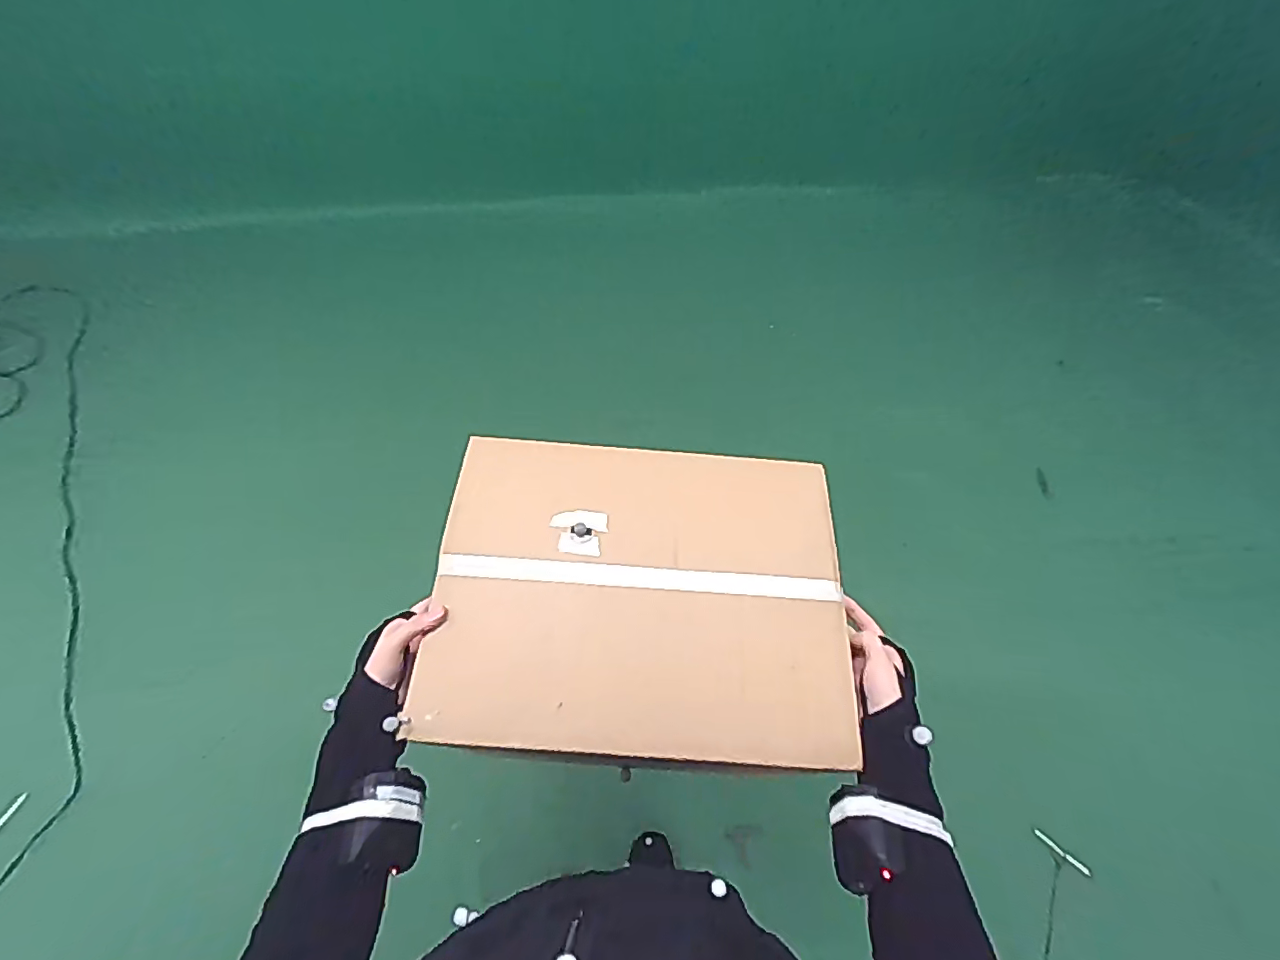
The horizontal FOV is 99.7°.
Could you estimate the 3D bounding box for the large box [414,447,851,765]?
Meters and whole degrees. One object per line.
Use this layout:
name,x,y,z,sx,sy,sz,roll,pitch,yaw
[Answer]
large box,-0.002,0.179,0.686,0.408,0.320,0.320,5,60,0
